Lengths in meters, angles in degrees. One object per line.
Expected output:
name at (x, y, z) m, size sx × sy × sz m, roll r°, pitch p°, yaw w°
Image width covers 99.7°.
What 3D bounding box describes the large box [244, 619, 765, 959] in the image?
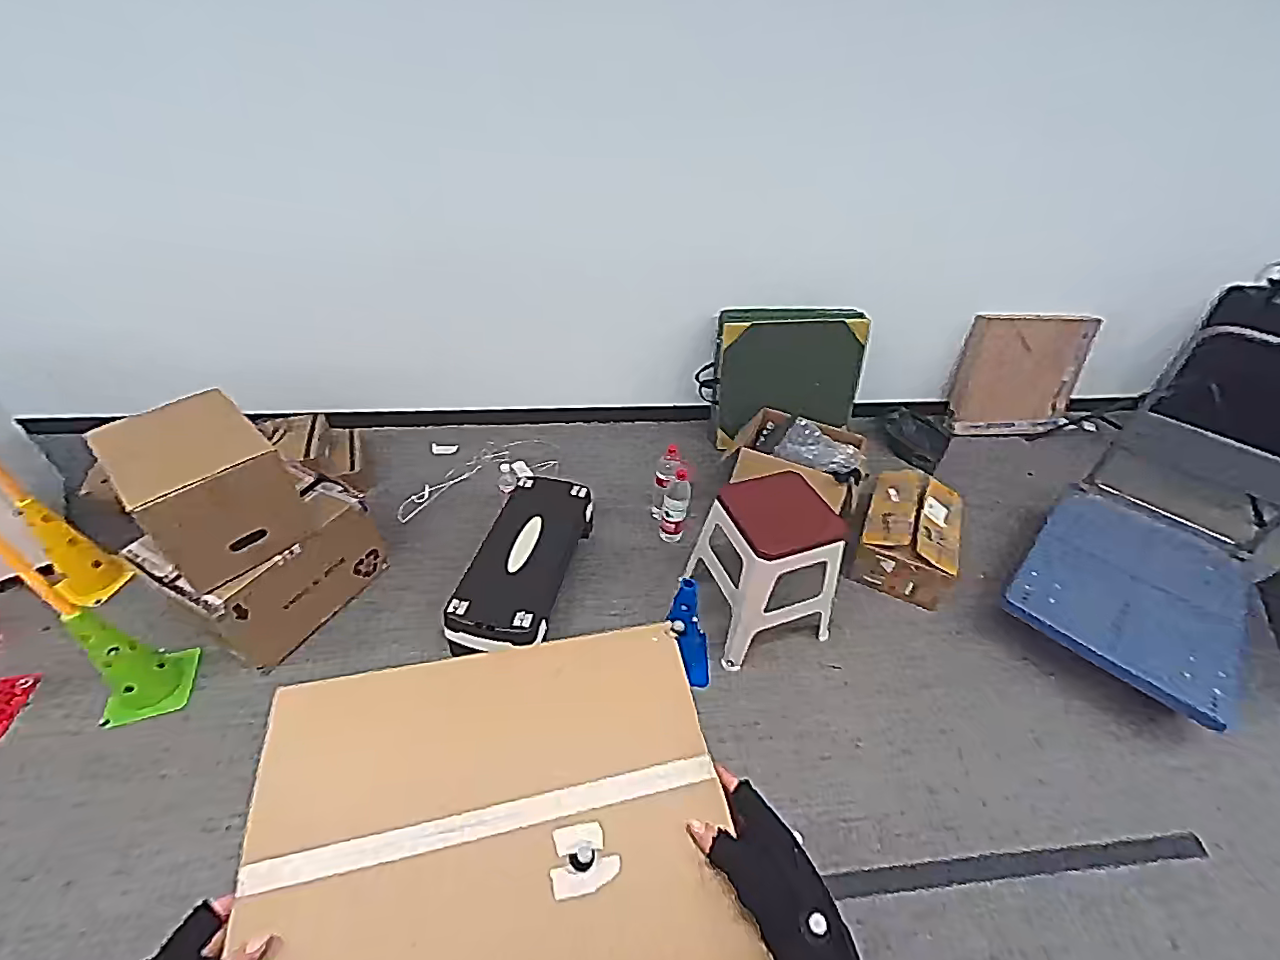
large box at (-0.140, 0.395, 0.598) m, size 0.408 × 0.320 × 0.320 m, roll -6°, pitch 51°, yaw -14°
